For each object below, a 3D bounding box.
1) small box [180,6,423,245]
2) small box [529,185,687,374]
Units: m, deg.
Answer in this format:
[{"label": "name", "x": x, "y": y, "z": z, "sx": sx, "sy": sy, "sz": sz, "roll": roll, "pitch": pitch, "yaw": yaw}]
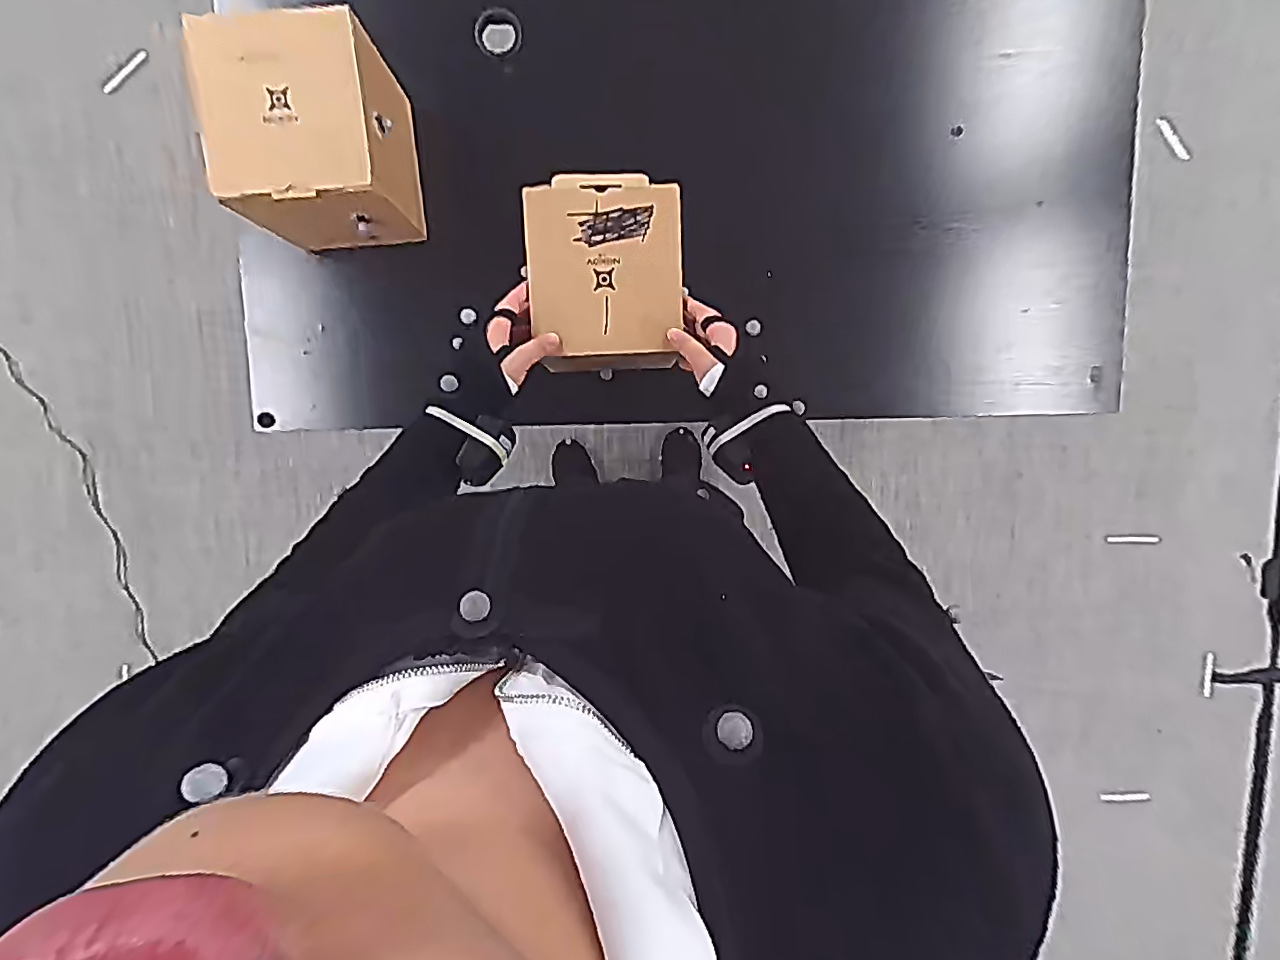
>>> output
[{"label": "small box", "x": -0.363, "y": -0.382, "z": 0.617, "sx": 0.168, "sy": 0.176, "sz": 0.179, "roll": -6, "pitch": 95, "yaw": -3}, {"label": "small box", "x": -0.036, "y": -0.225, "z": 0.647, "sx": 0.168, "sy": 0.176, "sz": 0.179, "roll": -2, "pitch": 97, "yaw": -2}]
